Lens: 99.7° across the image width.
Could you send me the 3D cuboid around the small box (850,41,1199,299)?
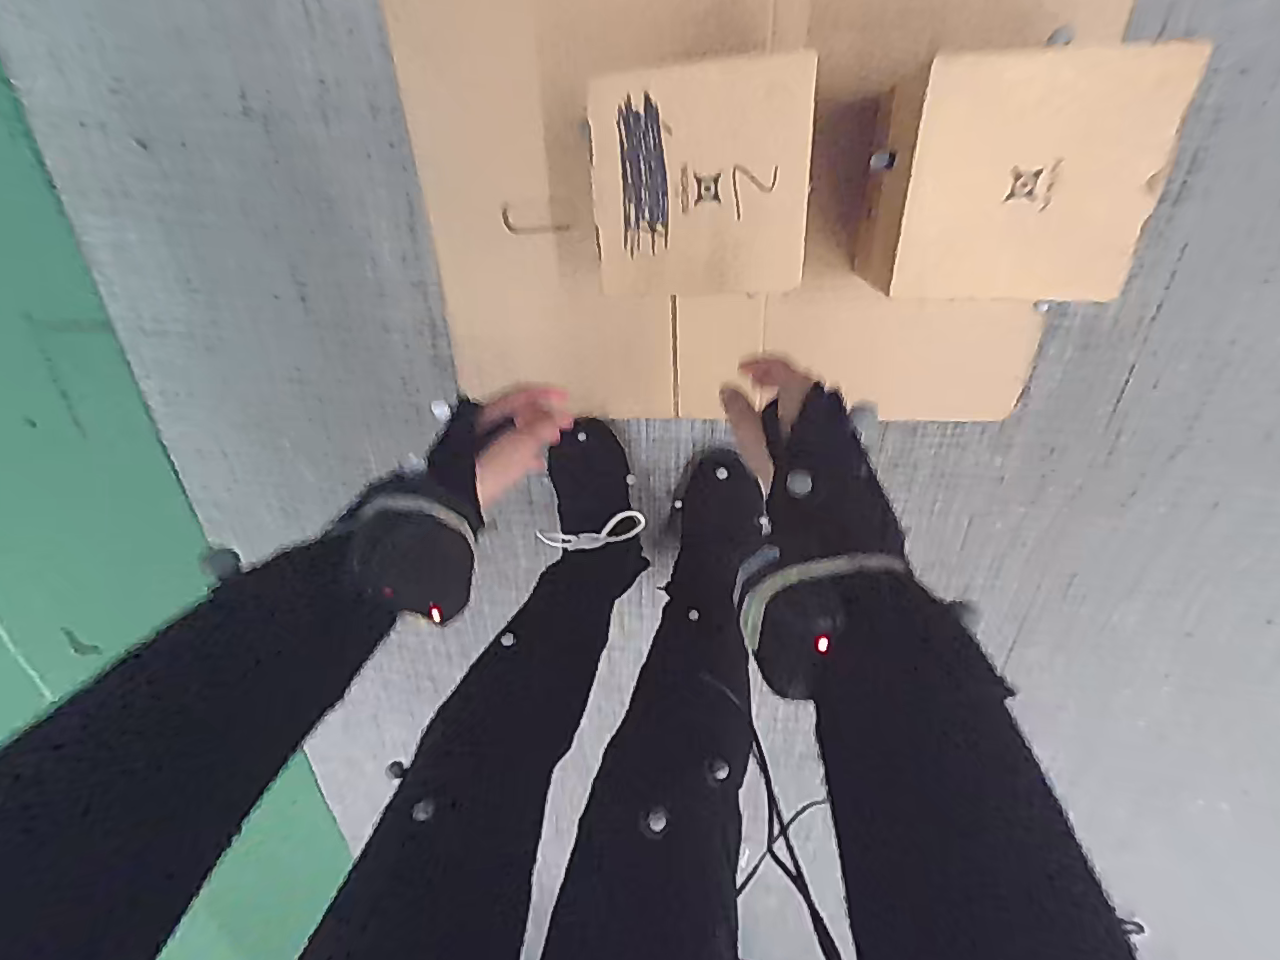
[{"bbox_3d":[0.296,-0.256,0.472,0.179,0.176,0.168,3,117,8],"label":"small box"}]
